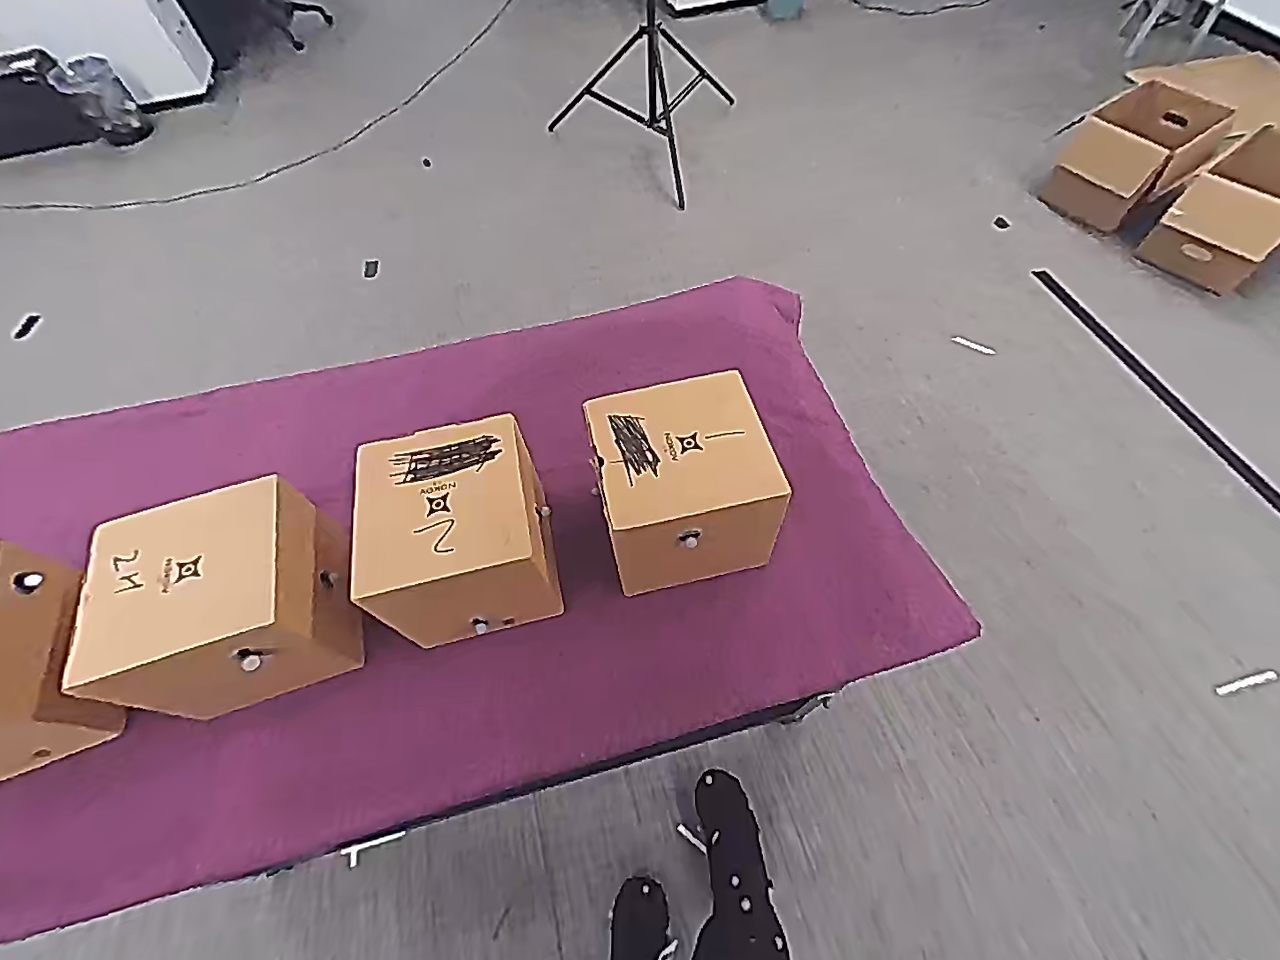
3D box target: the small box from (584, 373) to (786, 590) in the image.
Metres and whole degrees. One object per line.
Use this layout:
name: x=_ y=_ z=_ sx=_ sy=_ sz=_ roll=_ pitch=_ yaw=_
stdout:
small box: x=0.044 y=0.009 z=0.614 sx=0.179 sy=0.176 sz=0.168 roll=-12 pitch=57 yaw=-4

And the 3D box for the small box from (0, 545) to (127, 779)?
small box: x=-0.665 y=0.197 z=0.547 sx=0.168 sy=0.176 sz=0.179 roll=-20 pitch=59 yaw=-9

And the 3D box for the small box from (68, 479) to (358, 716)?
small box: x=-0.419 y=0.129 z=0.571 sx=0.179 sy=0.176 sz=0.168 roll=-18 pitch=58 yaw=-7
